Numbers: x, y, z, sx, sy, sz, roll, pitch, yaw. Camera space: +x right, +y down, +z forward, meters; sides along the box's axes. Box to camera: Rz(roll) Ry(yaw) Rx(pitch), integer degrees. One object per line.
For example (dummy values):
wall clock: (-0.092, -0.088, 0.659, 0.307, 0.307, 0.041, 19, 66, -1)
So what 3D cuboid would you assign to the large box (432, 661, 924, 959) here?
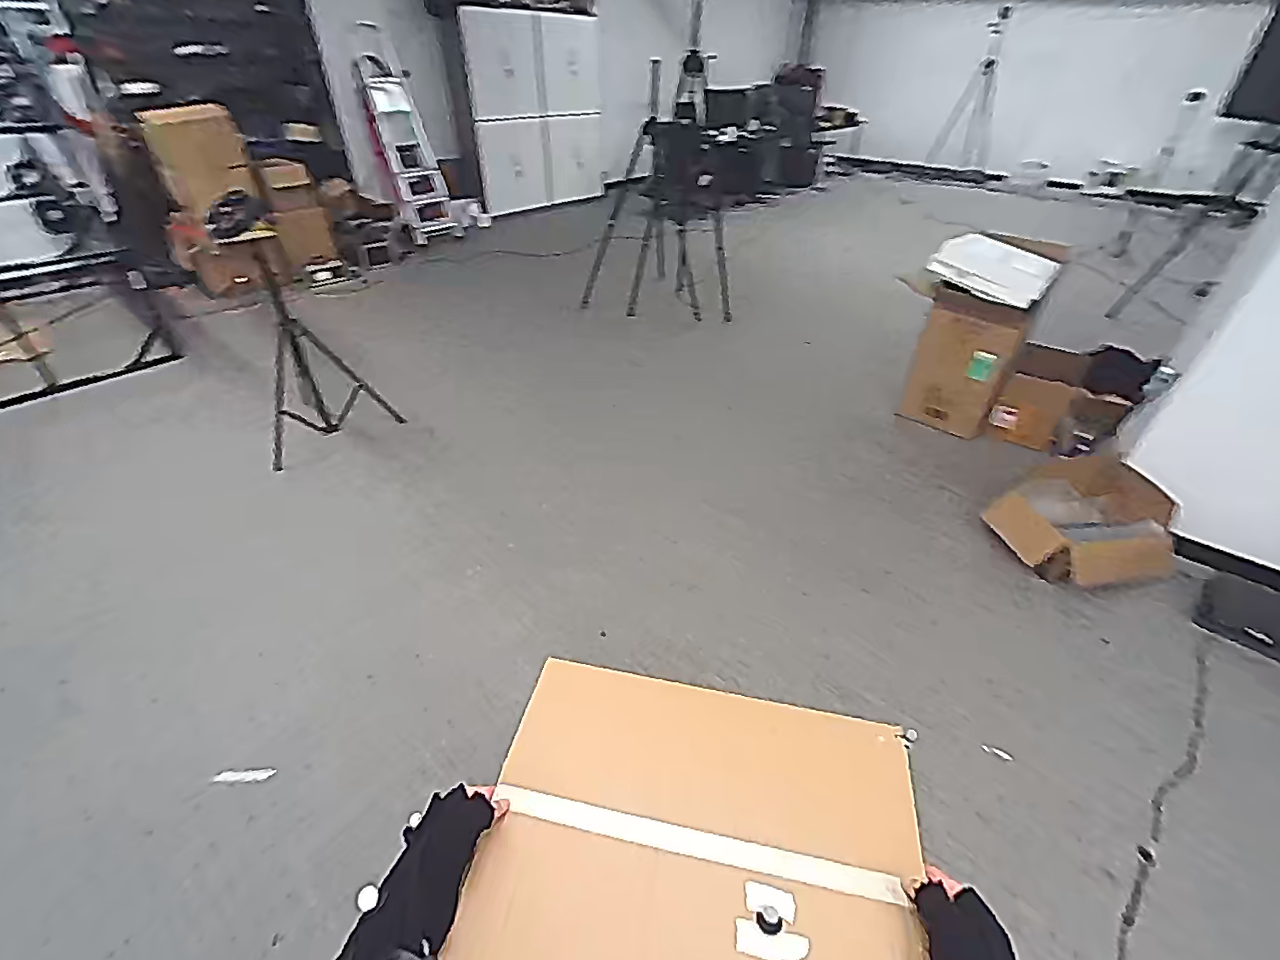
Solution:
large box: (0.046, 0.452, 0.602, 0.408, 0.320, 0.320, 8, 40, 9)
